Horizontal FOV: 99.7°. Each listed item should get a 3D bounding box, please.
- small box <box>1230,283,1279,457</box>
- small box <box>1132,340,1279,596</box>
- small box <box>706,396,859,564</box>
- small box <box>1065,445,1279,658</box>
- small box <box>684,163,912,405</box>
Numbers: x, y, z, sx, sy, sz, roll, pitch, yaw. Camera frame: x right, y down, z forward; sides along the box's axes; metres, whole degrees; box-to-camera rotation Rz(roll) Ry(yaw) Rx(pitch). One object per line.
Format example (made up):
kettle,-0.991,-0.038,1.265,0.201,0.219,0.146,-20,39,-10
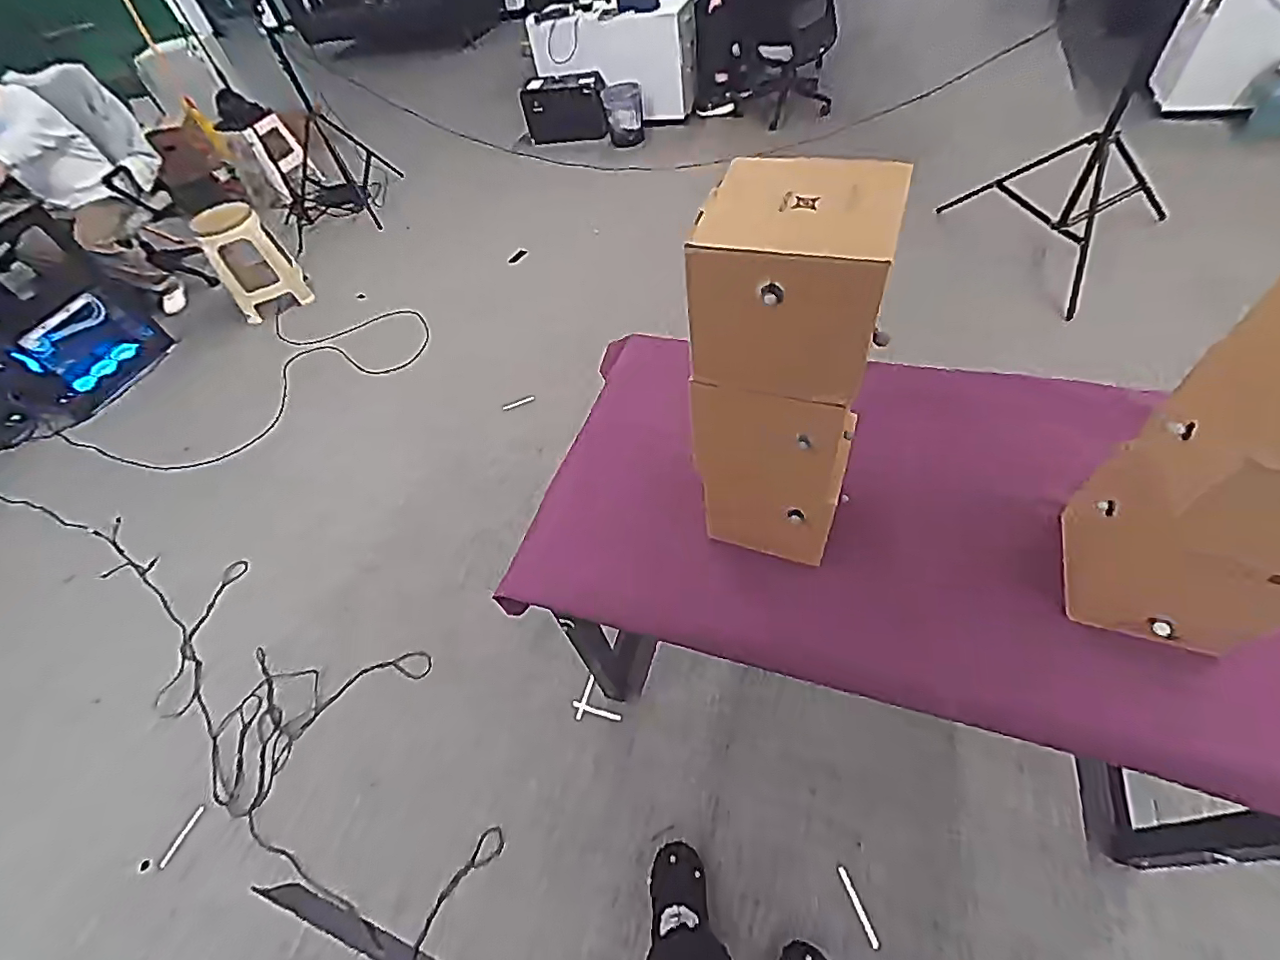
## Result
small box,0.609,-0.101,0.402,0.168,0.176,0.179,15,56,21
small box,0.632,-0.007,0.534,0.168,0.176,0.179,15,56,21
small box,0.209,0.004,0.807,0.179,0.176,0.168,14,55,19
small box,0.656,0.089,0.665,0.168,0.176,0.179,13,56,19
small box,0.157,-0.197,0.555,0.179,0.176,0.168,13,57,18
